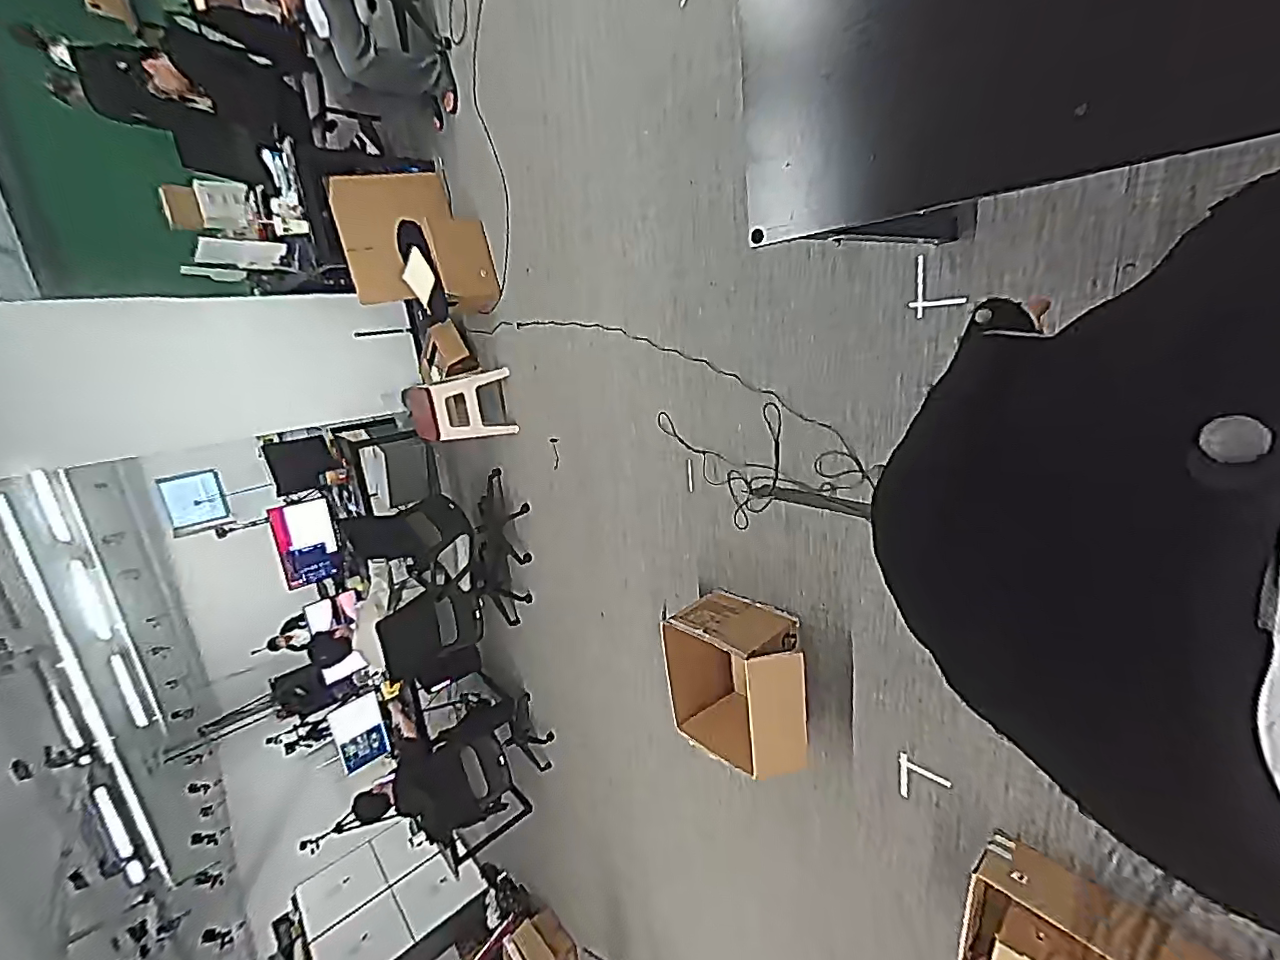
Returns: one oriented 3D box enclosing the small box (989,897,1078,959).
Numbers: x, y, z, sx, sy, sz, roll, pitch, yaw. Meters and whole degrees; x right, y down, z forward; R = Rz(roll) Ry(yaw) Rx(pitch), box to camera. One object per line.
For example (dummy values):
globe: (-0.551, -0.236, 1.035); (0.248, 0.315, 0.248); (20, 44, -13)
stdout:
small box: (1.083, 1.322, 1.494); (0.168, 0.176, 0.179); (17, 116, 45)
